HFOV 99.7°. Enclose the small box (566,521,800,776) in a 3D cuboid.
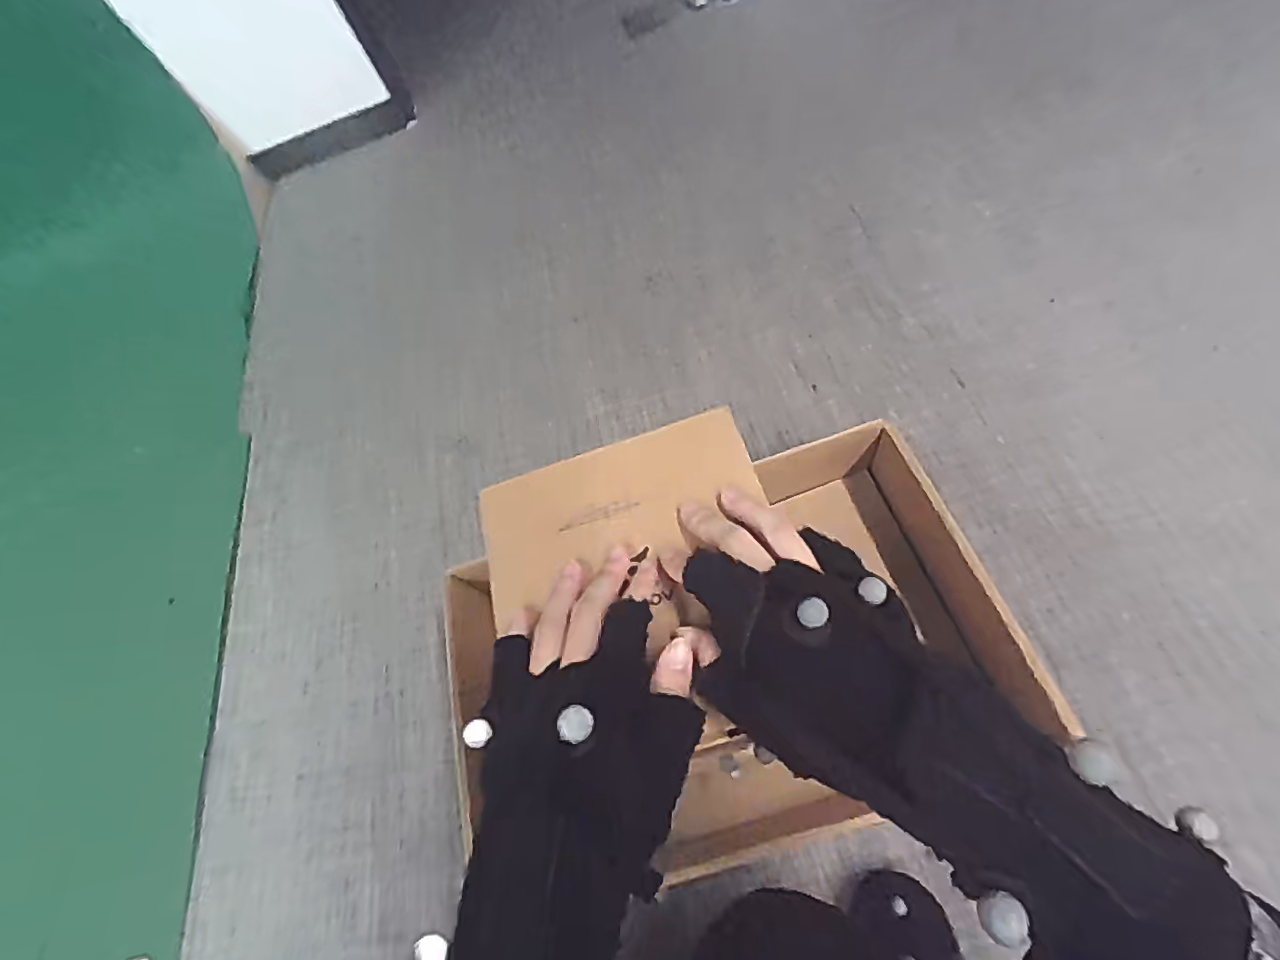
[{"bbox_3d":[0.047,0.170,0.534,0.168,0.176,0.179,-21,60,4],"label":"small box"}]
